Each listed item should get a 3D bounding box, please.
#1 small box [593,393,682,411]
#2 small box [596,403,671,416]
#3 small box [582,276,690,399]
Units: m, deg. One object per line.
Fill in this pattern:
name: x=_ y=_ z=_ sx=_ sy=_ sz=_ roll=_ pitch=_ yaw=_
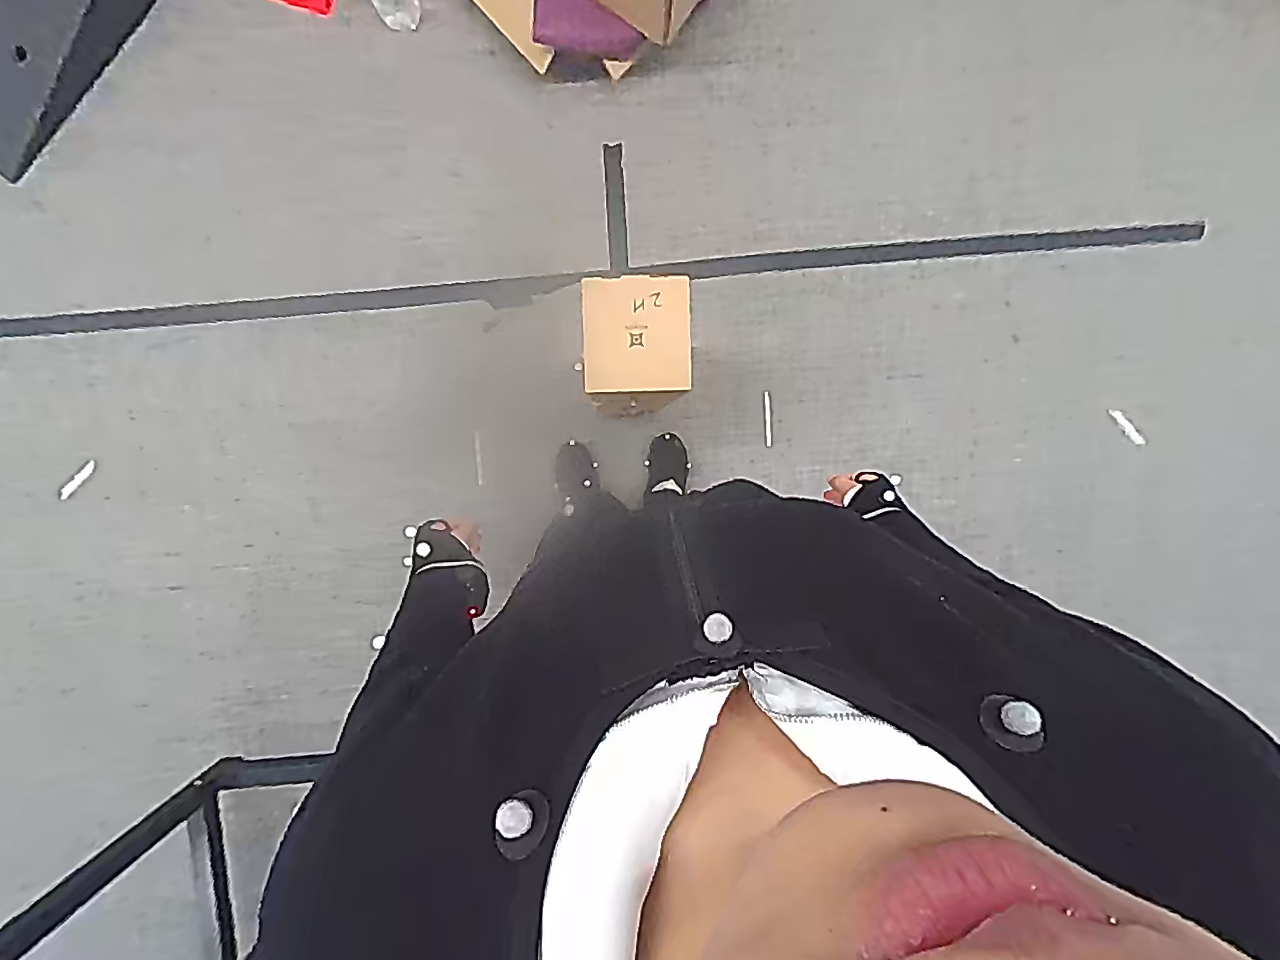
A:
small box: x=-0.014 y=-0.236 z=1.068 sx=0.168 sy=0.176 sz=0.179 roll=-6 pitch=94 yaw=-1
small box: x=-0.023 y=-0.246 z=1.232 sx=0.168 sy=0.176 sz=0.179 roll=-6 pitch=93 yaw=-1
small box: x=-0.006 y=-0.227 z=0.903 sx=0.168 sy=0.176 sz=0.179 roll=-2 pitch=93 yaw=-2
